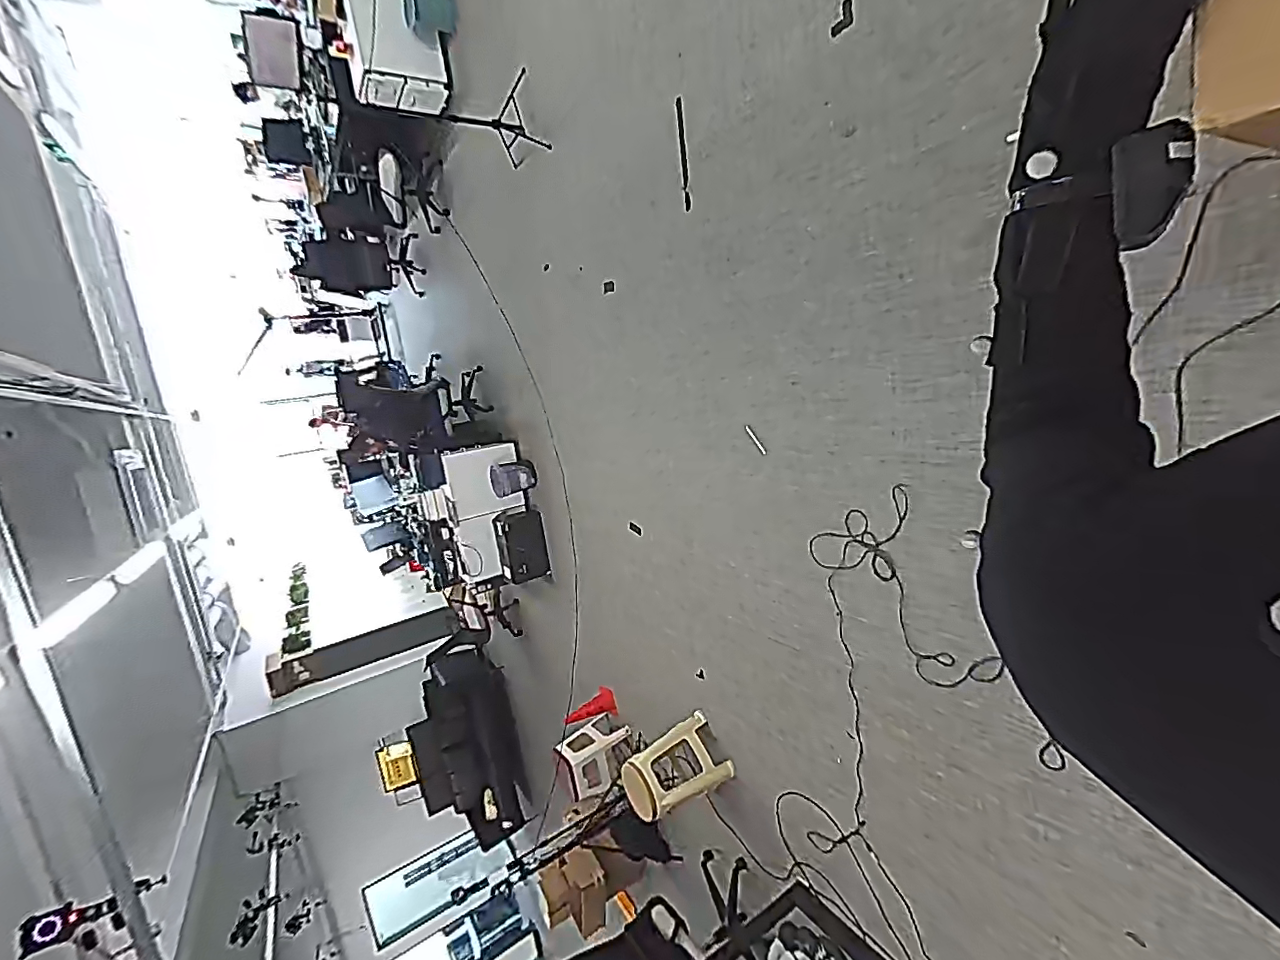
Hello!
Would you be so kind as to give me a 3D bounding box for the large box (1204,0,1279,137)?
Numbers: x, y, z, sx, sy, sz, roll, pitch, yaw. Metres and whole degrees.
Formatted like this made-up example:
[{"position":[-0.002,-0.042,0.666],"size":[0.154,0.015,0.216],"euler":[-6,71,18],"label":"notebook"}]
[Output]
[{"position":[0.516,-0.373,0.185],"size":[0.408,0.320,0.320],"euler":[8,112,56],"label":"large box"}]
